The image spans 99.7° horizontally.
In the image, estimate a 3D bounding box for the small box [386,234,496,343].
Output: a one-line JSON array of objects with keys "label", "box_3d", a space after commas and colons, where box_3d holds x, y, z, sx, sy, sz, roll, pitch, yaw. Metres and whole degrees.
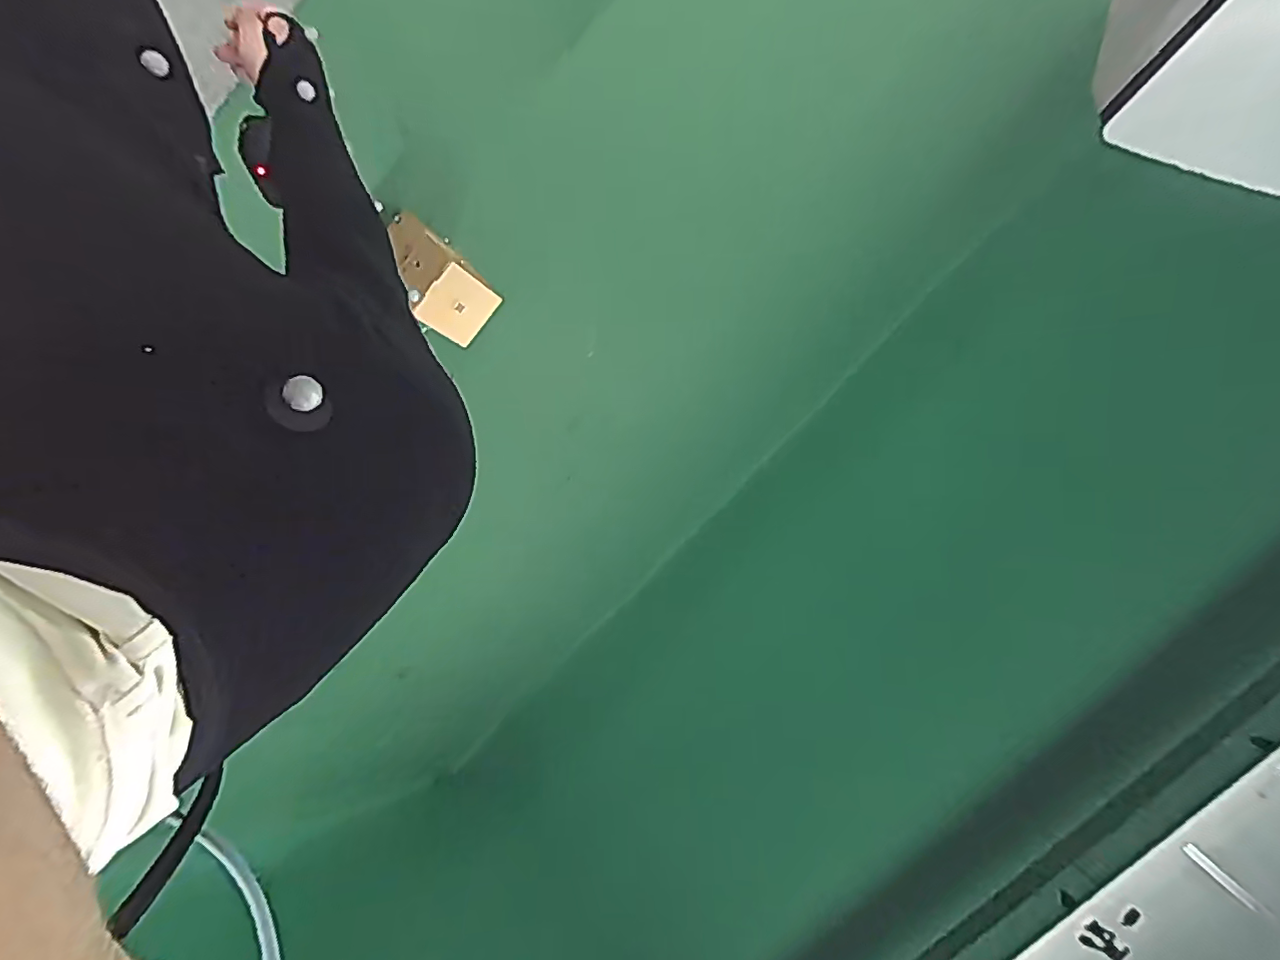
[{"label": "small box", "box_3d": [-0.510, -0.492, 1.386, 0.168, 0.176, 0.179, -48, 147, 10]}]

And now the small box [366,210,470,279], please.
[{"label": "small box", "box_3d": [-0.605, -0.599, 1.464, 0.168, 0.176, 0.179, -47, 149, 9]}]
